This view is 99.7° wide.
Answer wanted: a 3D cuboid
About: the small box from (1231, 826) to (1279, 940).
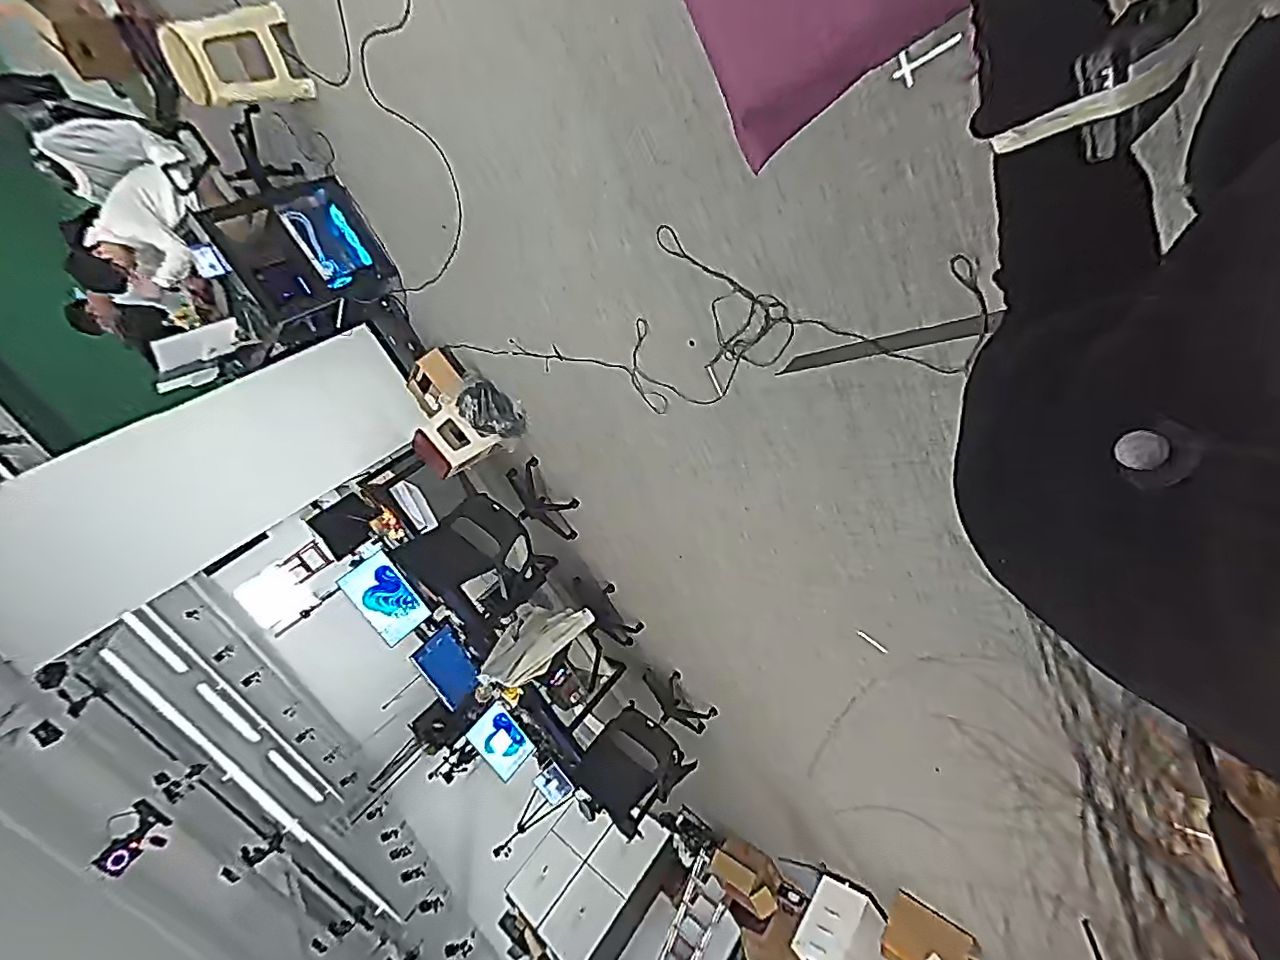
[{"bbox_3d":[1.534,0.971,1.282,0.168,0.176,0.179,-6,121,53],"label":"small box"}]
